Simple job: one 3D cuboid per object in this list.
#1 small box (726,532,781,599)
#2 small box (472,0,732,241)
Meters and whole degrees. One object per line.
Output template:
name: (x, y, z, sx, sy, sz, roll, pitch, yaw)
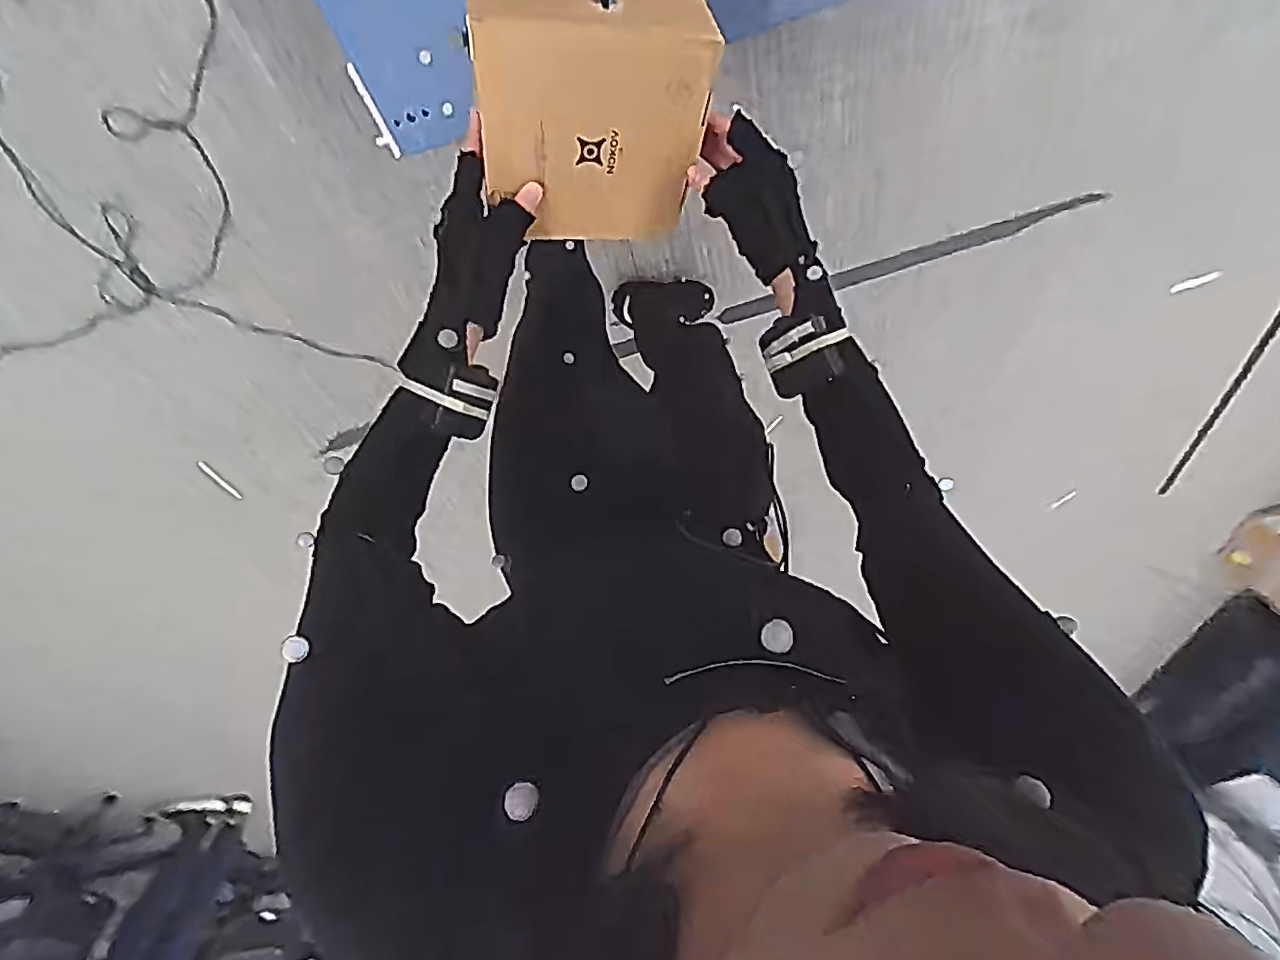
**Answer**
small box: (0.446, 0.335, 2.127, 0.168, 0.176, 0.179, -16, 135, -1)
small box: (-0.047, -0.333, 0.466, 0.179, 0.176, 0.168, -5, 153, -14)
